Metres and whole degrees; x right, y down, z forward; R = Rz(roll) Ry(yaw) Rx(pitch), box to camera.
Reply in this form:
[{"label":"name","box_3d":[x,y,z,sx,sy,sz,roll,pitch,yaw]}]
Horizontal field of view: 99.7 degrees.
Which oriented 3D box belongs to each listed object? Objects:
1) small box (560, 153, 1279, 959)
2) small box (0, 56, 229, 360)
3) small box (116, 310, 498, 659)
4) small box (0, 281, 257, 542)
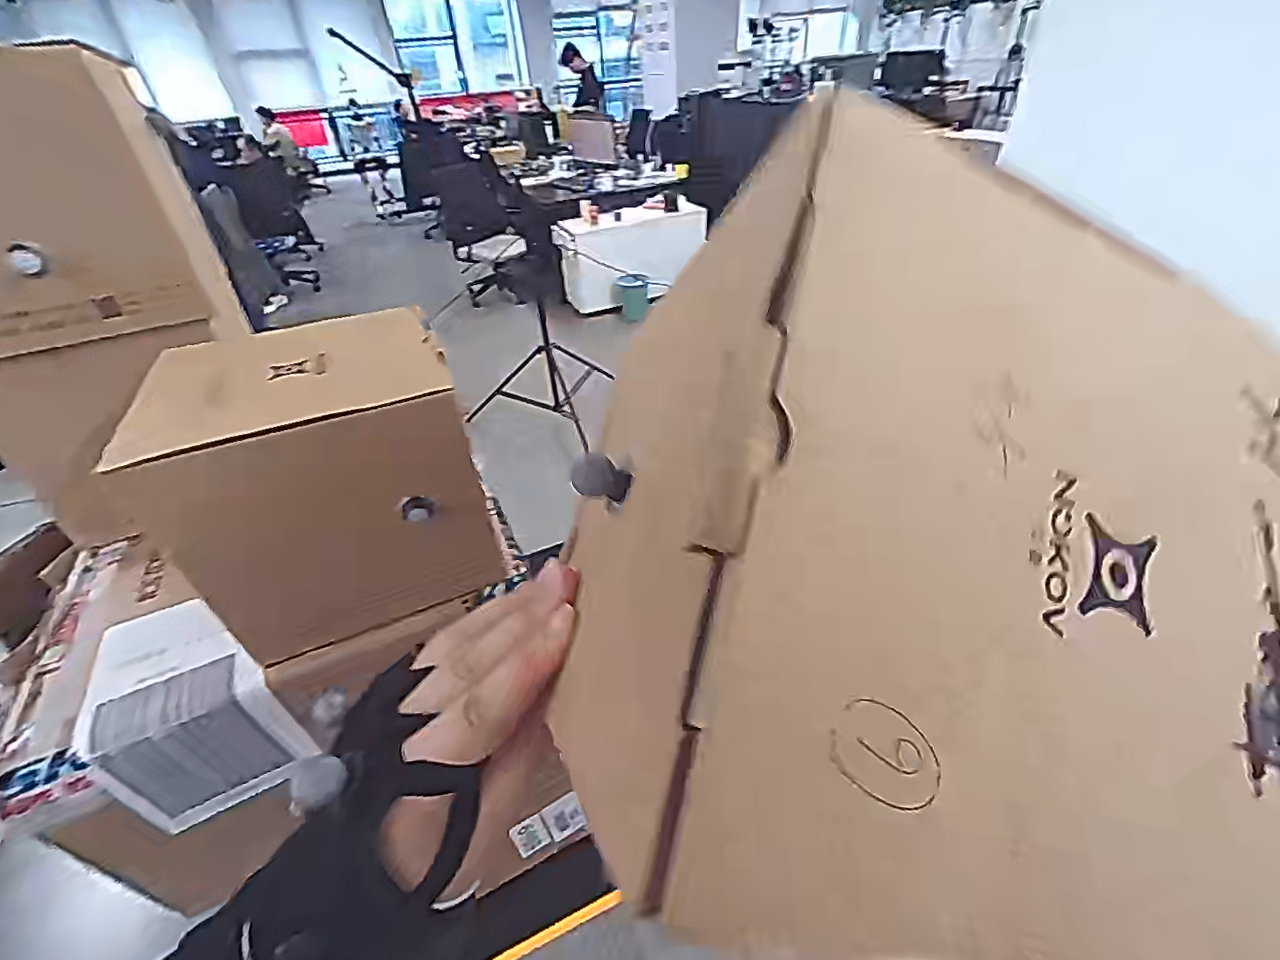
[{"label":"small box","box_3d":[0.079,0.031,0.212,0.179,0.176,0.168,19,77,-14]},{"label":"small box","box_3d":[-0.444,-0.204,0.407,0.168,0.176,0.179,-23,40,-23]},{"label":"small box","box_3d":[-0.216,-0.004,0.404,0.179,0.176,0.168,-20,40,-18]},{"label":"small box","box_3d":[-0.444,-0.072,0.508,0.168,0.176,0.179,-21,40,-22]}]
